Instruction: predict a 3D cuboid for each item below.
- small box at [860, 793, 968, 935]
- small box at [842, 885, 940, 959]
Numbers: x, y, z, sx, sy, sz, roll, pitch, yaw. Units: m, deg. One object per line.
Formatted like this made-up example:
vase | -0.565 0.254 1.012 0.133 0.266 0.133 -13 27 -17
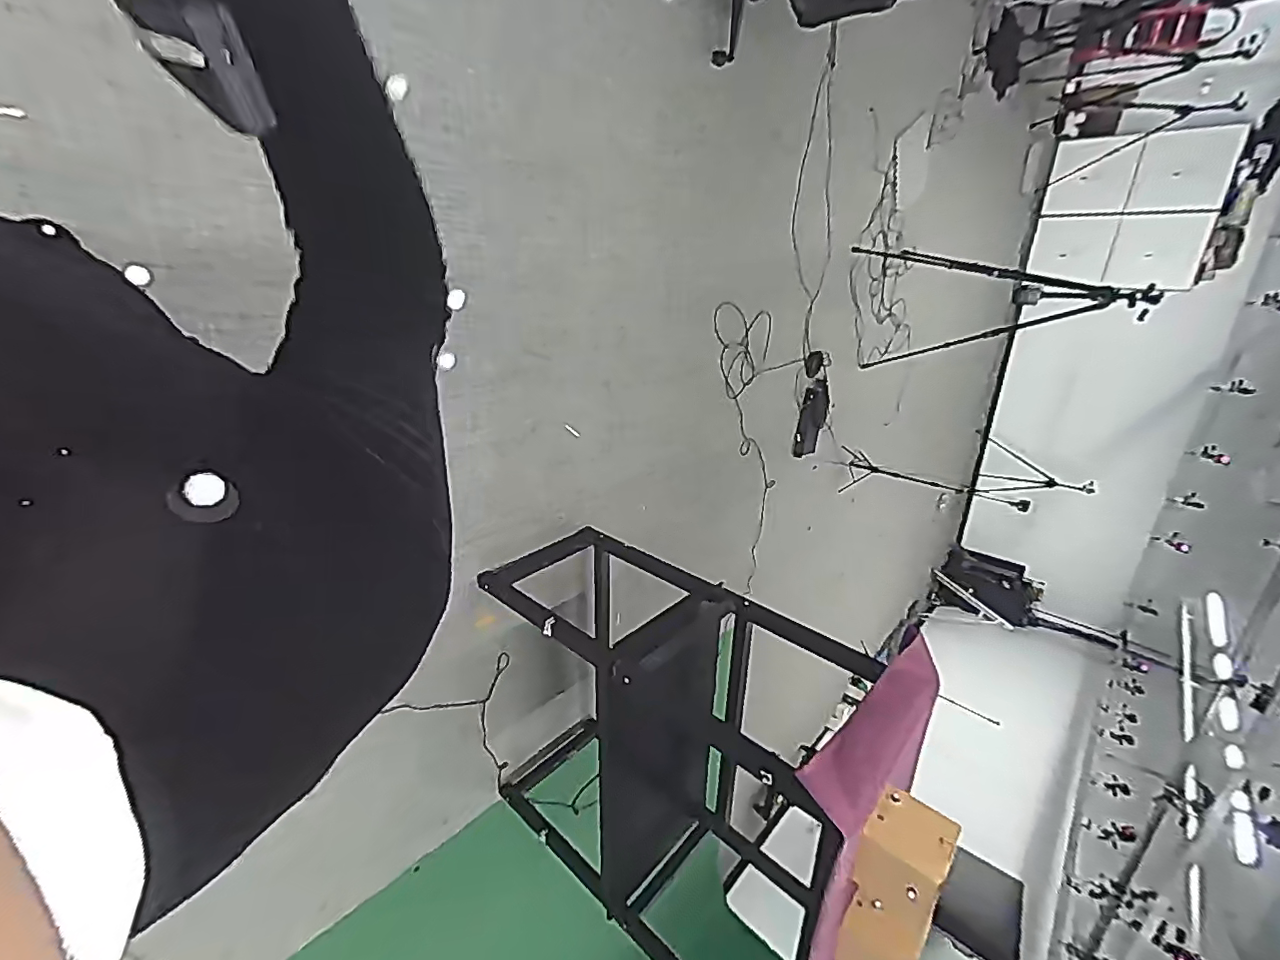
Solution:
small box | 0.619 0.858 1.232 0.168 0.176 0.179 -25 123 -42
small box | 0.627 1.163 1.361 0.168 0.176 0.179 -21 120 -44
